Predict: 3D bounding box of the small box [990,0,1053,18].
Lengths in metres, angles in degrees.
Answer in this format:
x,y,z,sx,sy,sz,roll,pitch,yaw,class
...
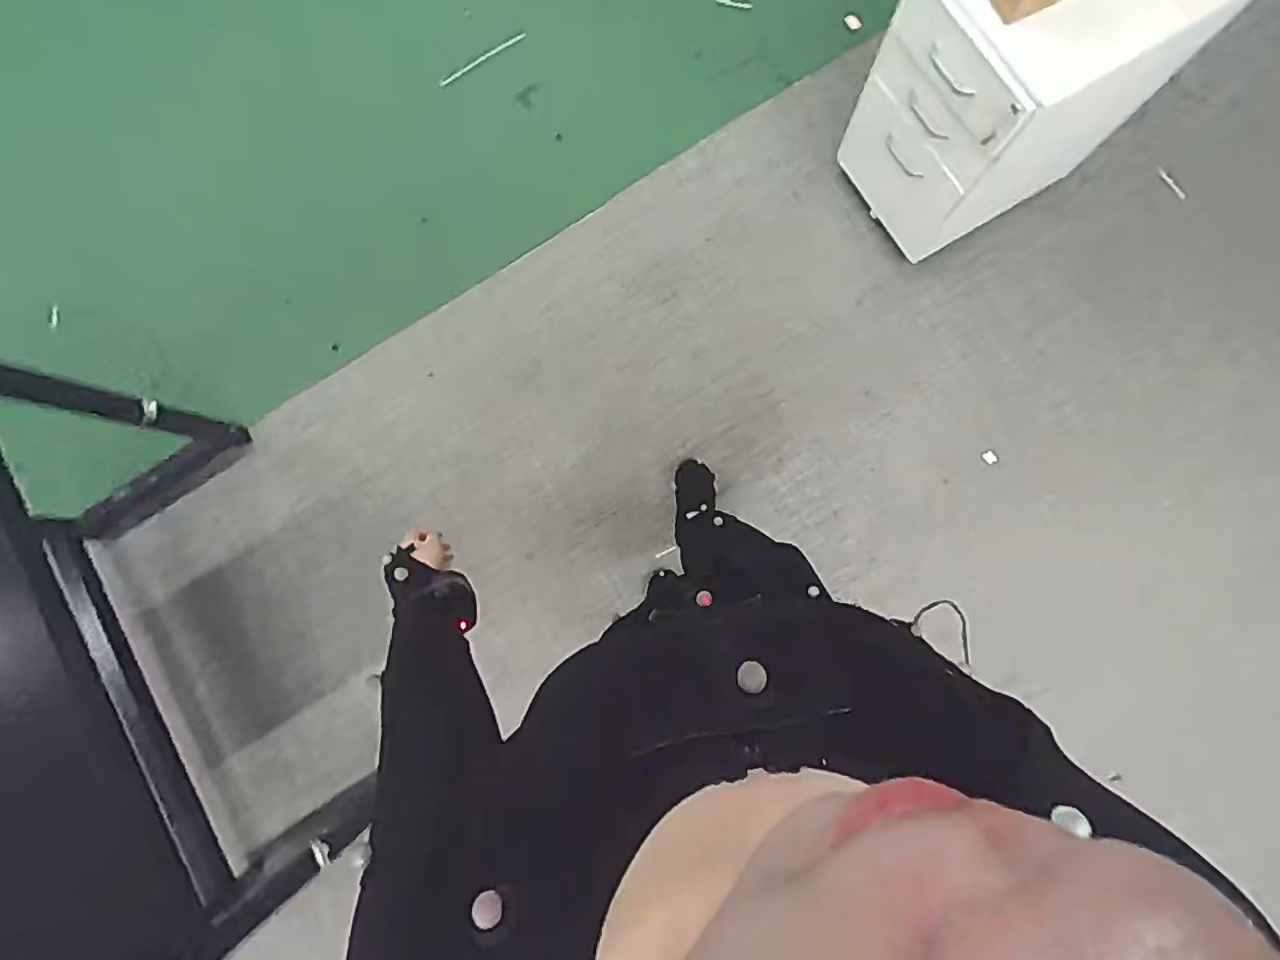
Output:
x,y,z,sx,sy,sz,roll,pitch,yaw,class
0.700,-0.959,0.922,0.168,0.176,0.179,-25,83,0,small box
